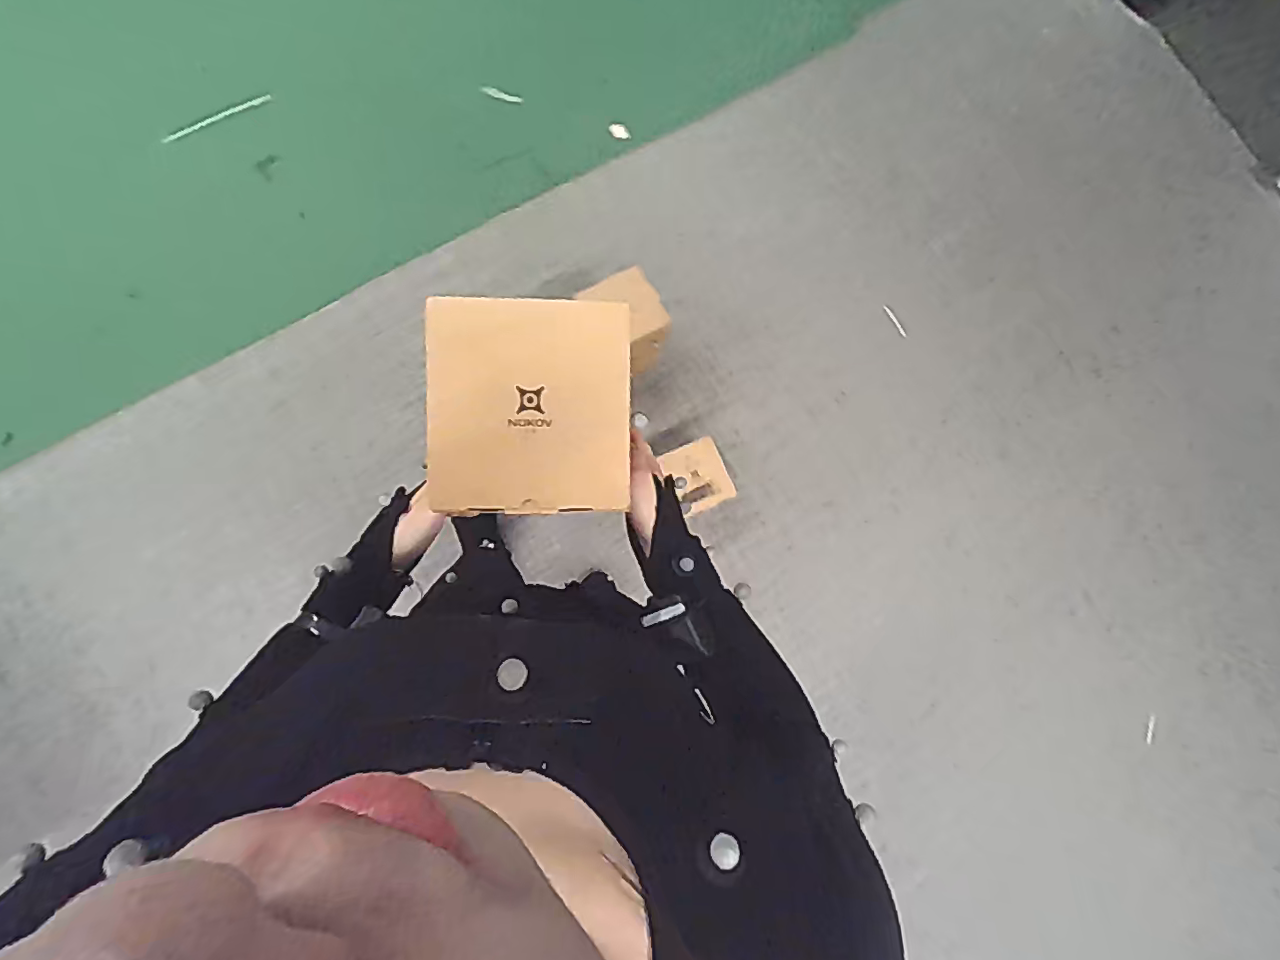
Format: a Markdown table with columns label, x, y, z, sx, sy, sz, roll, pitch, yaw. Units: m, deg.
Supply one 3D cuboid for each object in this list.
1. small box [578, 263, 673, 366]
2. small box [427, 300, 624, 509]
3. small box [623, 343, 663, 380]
| label | x | y | z | sx | sy | sz | roll | pitch | yaw |
| --- | --- | --- | --- | --- | --- | --- | --- | --- | --- |
| small box | -0.040 | -0.399 | 1.352 | 0.179 | 0.176 | 0.168 | -30 | 86 | -7 |
| small box | -0.104 | -0.067 | 0.537 | 0.168 | 0.176 | 0.179 | -1 | 95 | -5 |
| small box | -0.054 | -0.384 | 1.513 | 0.179 | 0.176 | 0.168 | -26 | 87 | -6 |
